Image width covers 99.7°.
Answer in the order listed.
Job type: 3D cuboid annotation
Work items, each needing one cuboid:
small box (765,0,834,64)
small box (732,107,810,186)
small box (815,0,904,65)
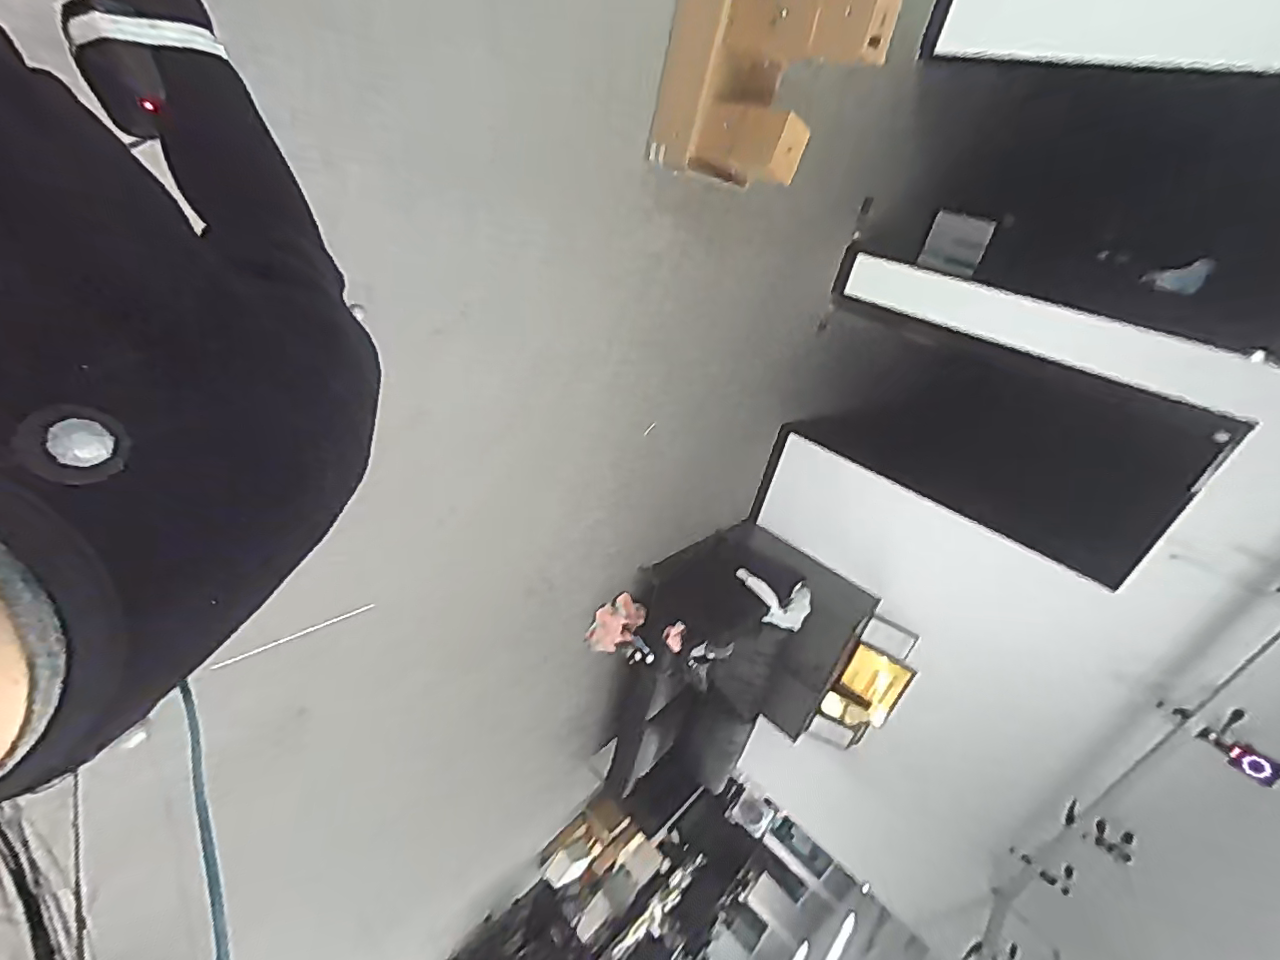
[{"bbox_3d":[0.521,-1.423,1.683,0.179,0.176,0.168,-19,132,-43],"label":"small box"},{"bbox_3d":[0.439,-1.134,1.837,0.168,0.176,0.179,-3,120,-51],"label":"small box"},{"bbox_3d":[0.641,-1.352,1.594,0.168,0.176,0.179,-23,134,-41],"label":"small box"}]
